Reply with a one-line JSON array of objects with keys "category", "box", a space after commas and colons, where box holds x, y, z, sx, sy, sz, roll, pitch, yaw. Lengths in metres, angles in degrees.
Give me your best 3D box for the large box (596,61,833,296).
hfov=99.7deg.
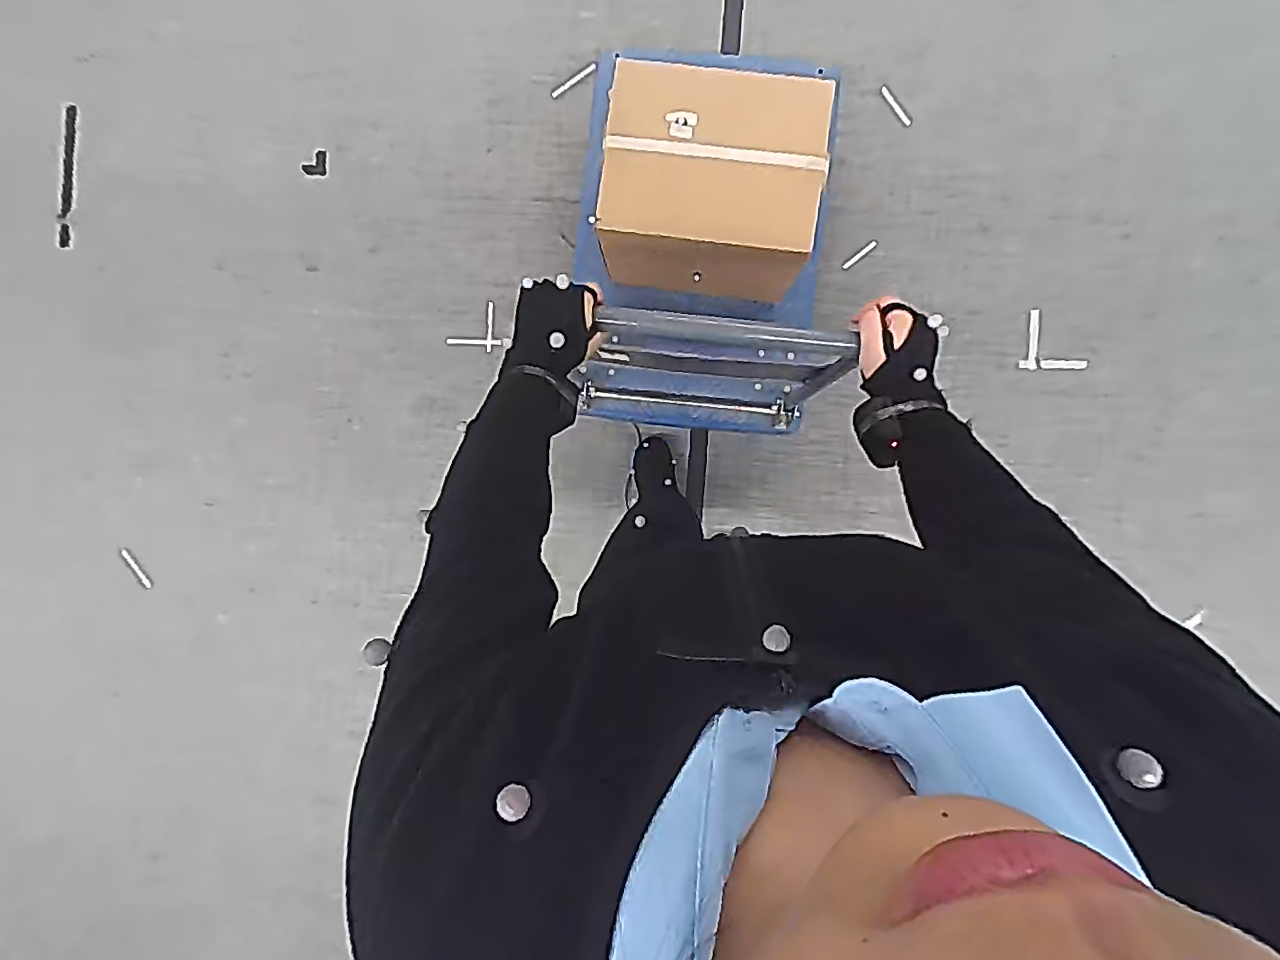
[{"category": "large box", "box": [0.143, -0.595, 1.124, 0.408, 0.320, 0.320, 7, 91, 4]}]
